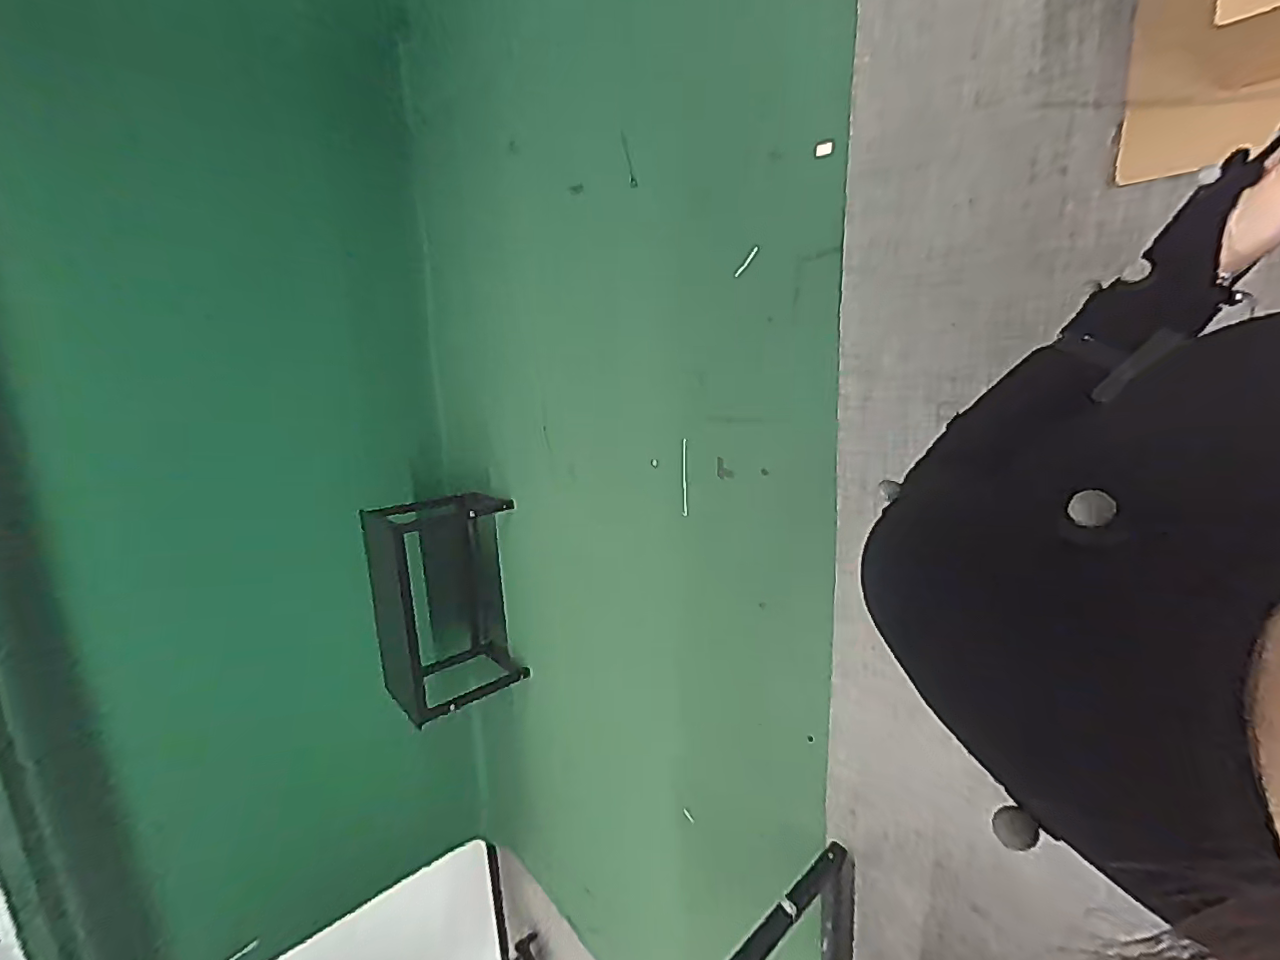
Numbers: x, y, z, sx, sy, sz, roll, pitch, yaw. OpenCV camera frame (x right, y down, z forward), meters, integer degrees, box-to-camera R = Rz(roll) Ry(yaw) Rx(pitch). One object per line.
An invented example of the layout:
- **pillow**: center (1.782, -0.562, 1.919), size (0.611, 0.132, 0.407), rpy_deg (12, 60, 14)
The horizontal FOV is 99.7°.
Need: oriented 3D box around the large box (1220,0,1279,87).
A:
- **large box**: center (1.045, -0.794, 0.685), size (0.408, 0.320, 0.320), rpy_deg (9, 107, 47)
